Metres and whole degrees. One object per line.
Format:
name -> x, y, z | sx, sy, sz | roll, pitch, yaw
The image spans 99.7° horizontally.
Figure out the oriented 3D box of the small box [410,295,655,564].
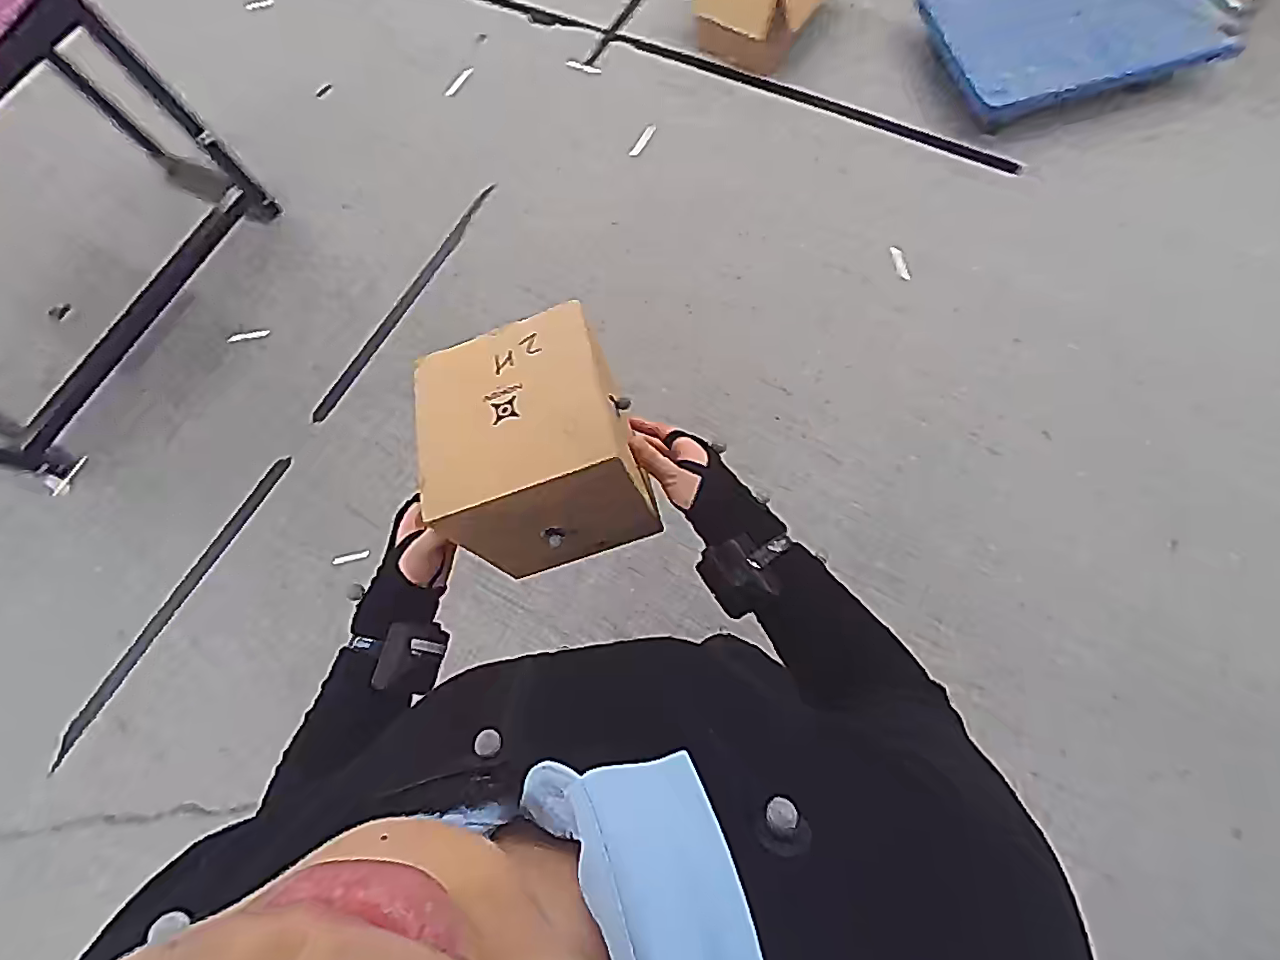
small box -> -0.094, -0.032, 0.514 | 0.168, 0.176, 0.179 | -18, 61, 5
